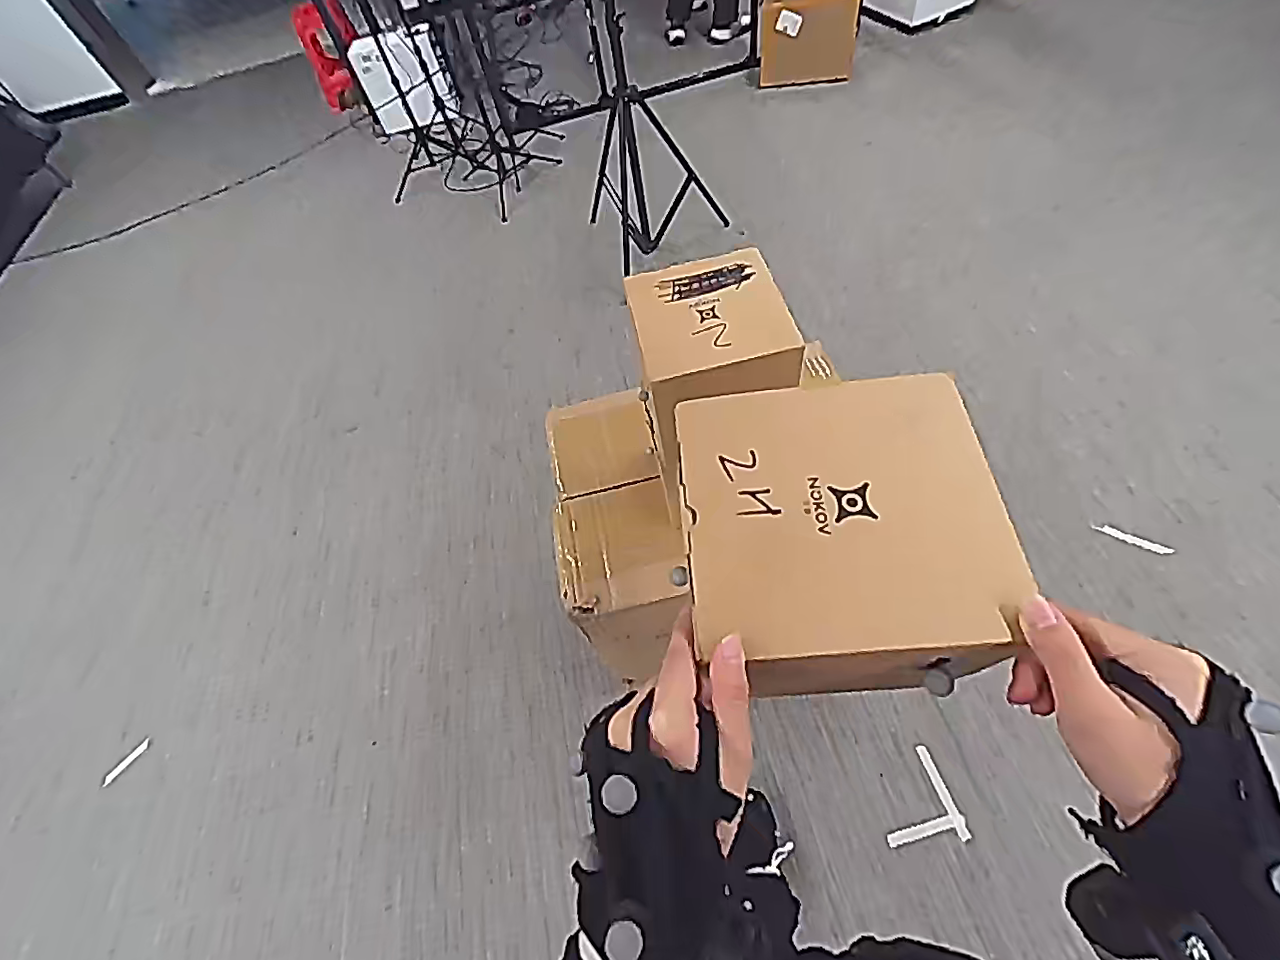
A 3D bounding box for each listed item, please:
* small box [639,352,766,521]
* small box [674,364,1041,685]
[{"bbox_3d":[0.107,-0.057,0.806,0.179,0.176,0.168,-13,56,1],"label":"small box"},{"bbox_3d":[0.120,0.044,0.380,0.179,0.176,0.168,-6,61,6],"label":"small box"}]
